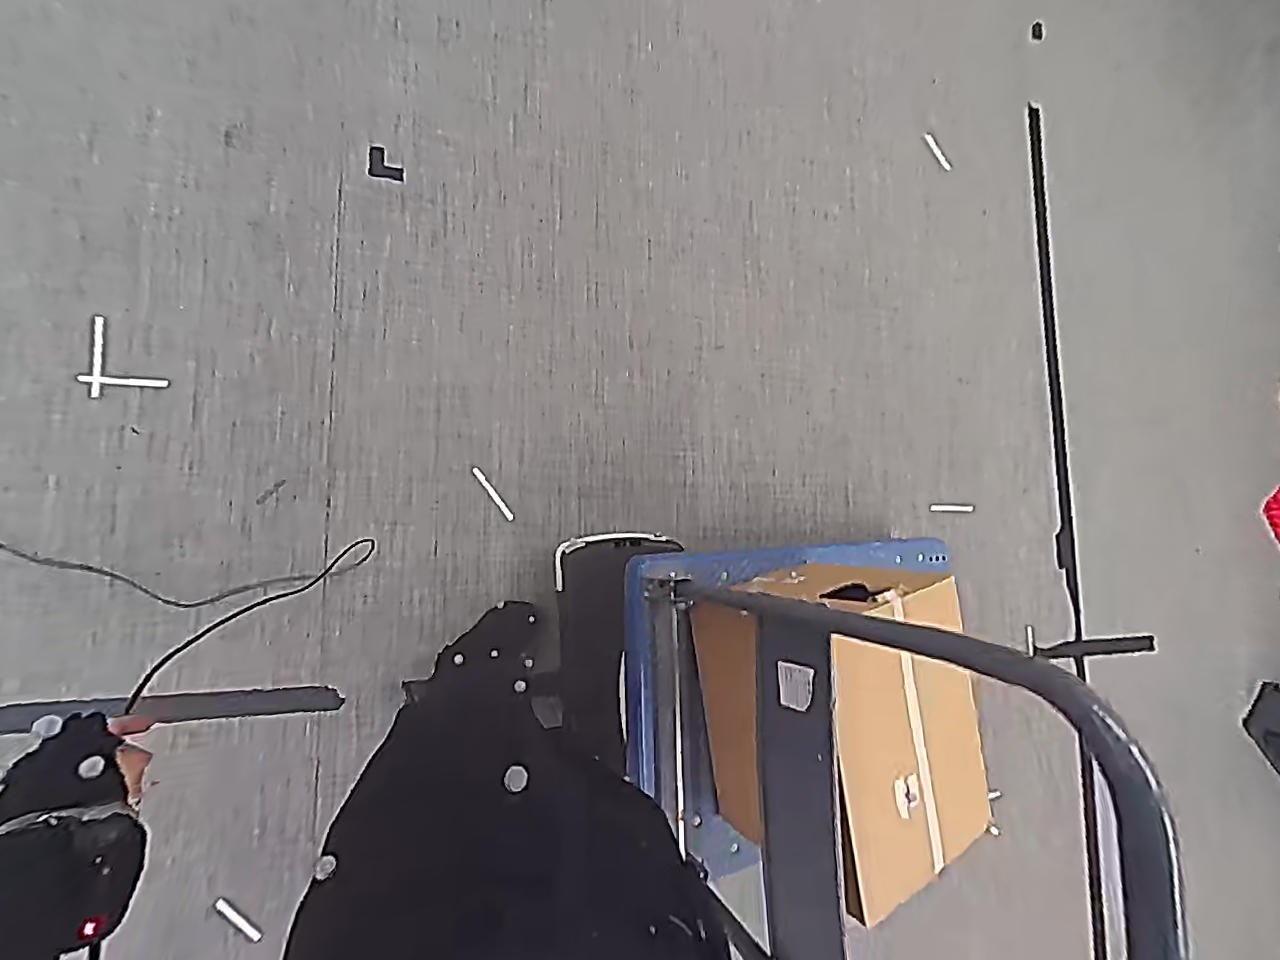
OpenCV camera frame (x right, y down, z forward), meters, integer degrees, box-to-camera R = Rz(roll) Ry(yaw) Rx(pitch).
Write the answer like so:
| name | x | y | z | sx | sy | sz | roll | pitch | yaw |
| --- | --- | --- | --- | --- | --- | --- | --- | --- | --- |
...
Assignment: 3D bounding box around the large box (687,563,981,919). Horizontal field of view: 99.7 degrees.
| name | x | y | z | sx | sy | sz | roll | pitch | yaw |
| --- | --- | --- | --- | --- | --- | --- | --- | --- | --- |
| large box | 0.313 | 0.378 | 0.917 | 0.320 | 0.320 | 0.408 | -9 | 91 | -29 |
